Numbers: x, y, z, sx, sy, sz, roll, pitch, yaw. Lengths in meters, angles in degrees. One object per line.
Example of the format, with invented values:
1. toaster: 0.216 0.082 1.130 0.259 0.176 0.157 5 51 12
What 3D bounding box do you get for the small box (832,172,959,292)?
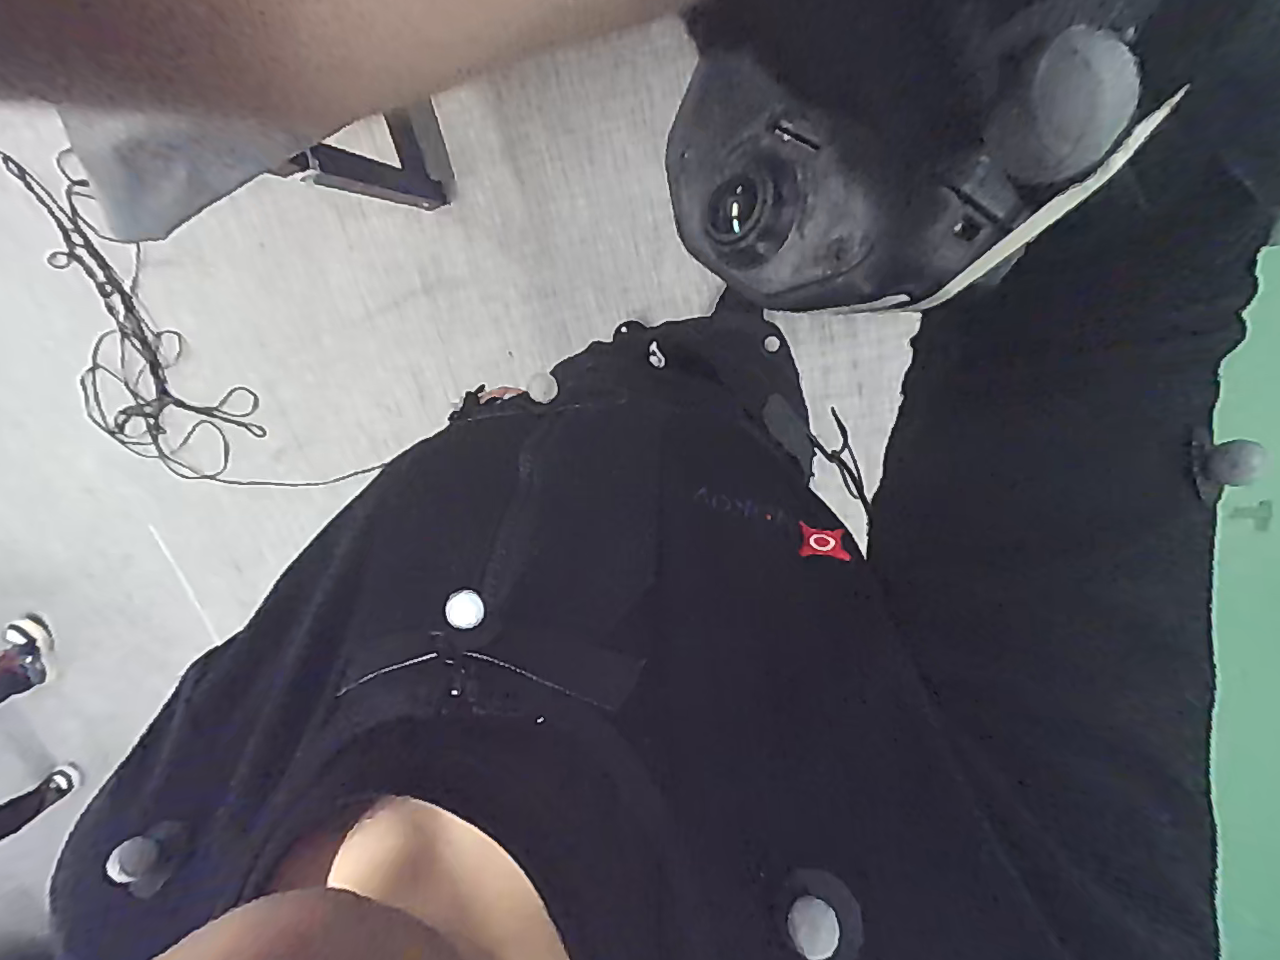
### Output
1. small box: 0.499 -0.481 1.072 0.179 0.176 0.168 -14 105 14
